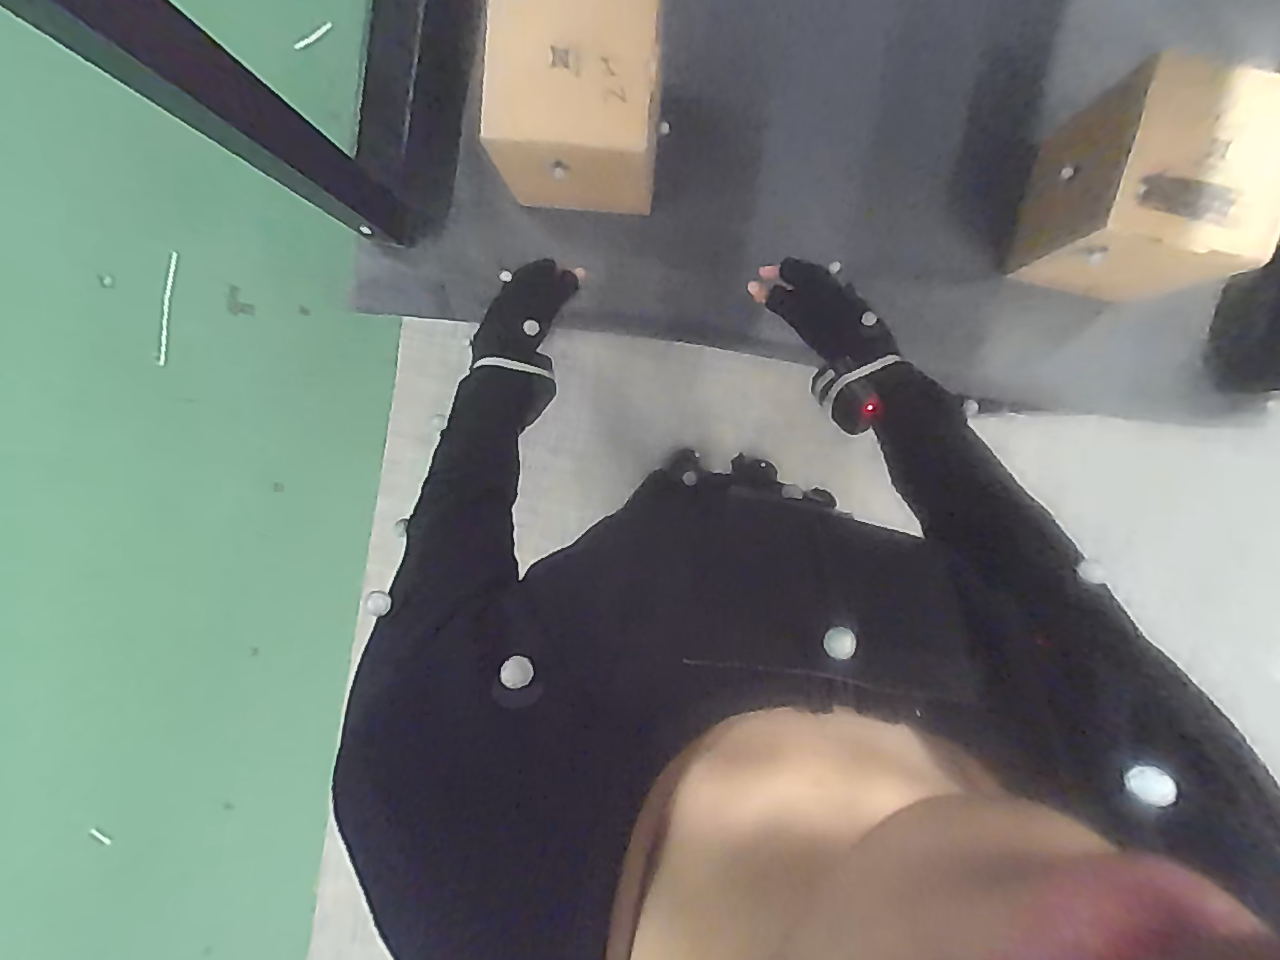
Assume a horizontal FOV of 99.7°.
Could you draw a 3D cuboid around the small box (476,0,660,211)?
[{"bbox_3d":[-0.072,-0.432,0.629,0.179,0.176,0.168,6,96,1],"label":"small box"}]
